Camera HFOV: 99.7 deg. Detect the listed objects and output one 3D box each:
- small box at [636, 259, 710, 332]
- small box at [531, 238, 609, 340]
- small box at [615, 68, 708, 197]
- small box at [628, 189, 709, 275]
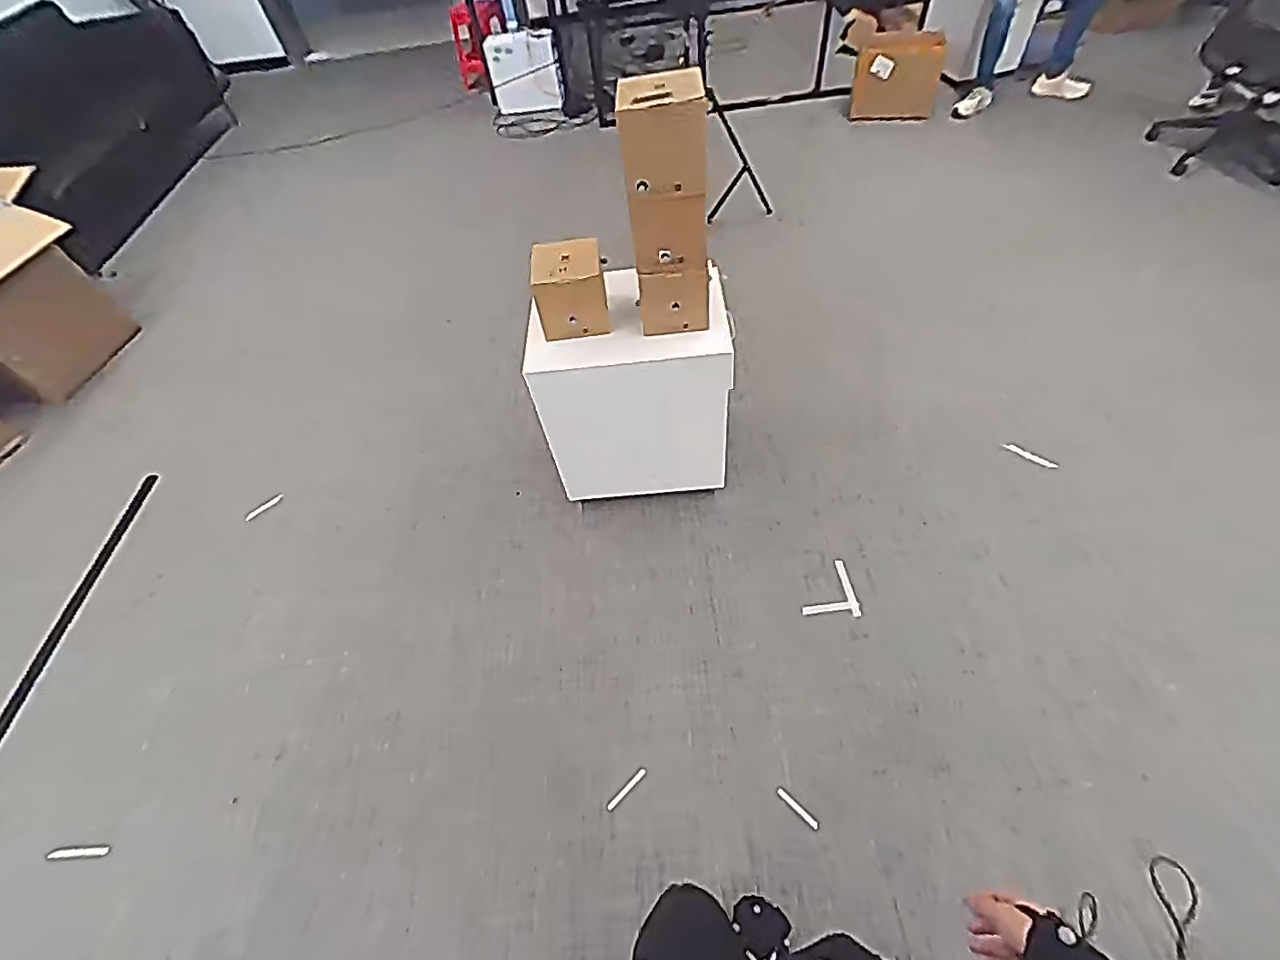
[{"bbox_3d":[0.083,-0.484,1.337,0.168,0.176,0.179,-5,54,5],"label":"small box"},{"bbox_3d":[-0.171,-0.479,1.365,0.168,0.176,0.179,-7,53,2],"label":"small box"},{"bbox_3d":[0.048,-0.684,1.080,0.168,0.176,0.179,-4,51,6],"label":"small box"},{"bbox_3d":[0.065,-0.588,1.213,0.168,0.176,0.179,-5,53,5],"label":"small box"}]
